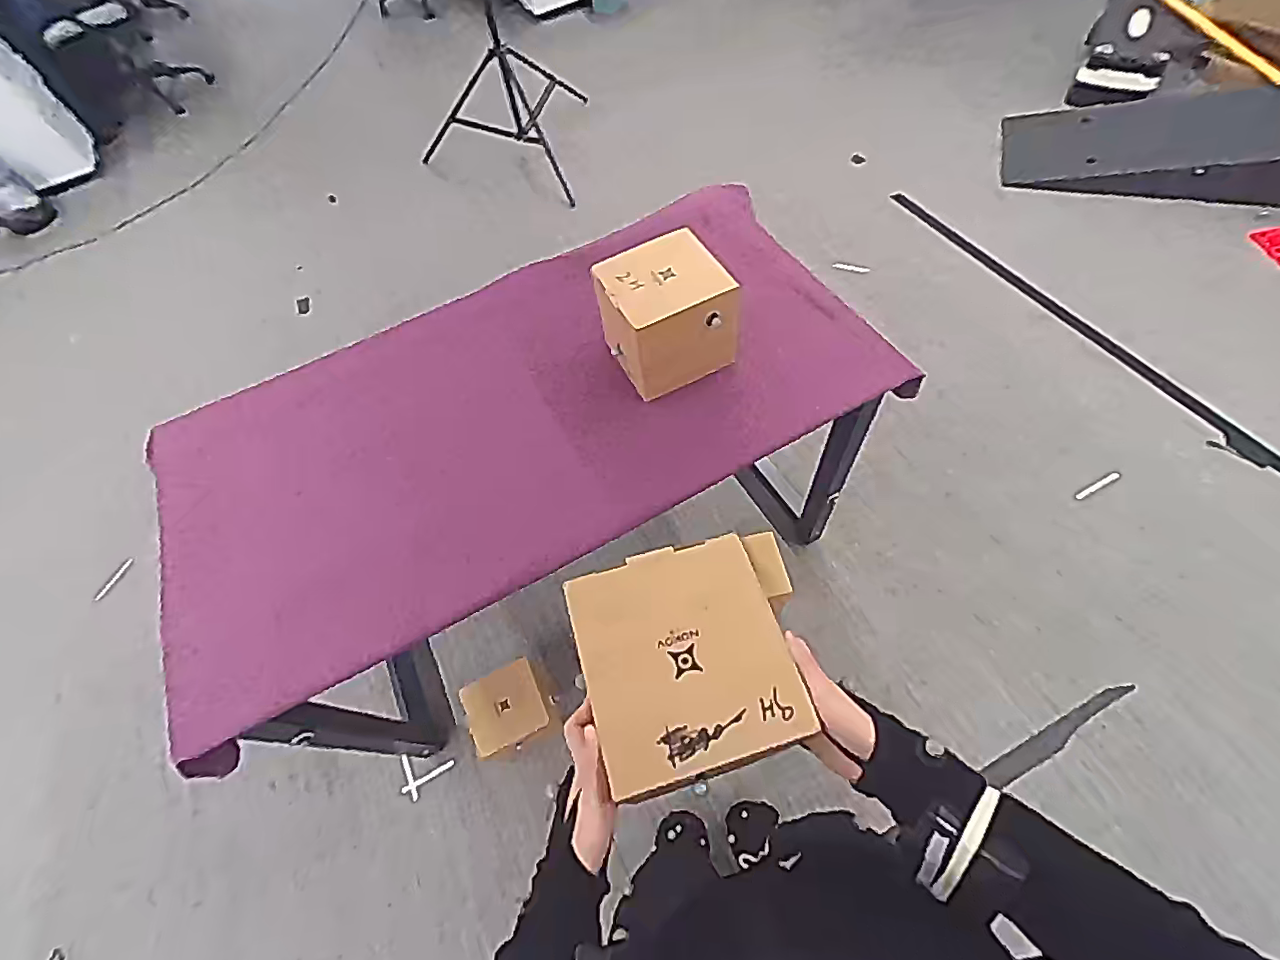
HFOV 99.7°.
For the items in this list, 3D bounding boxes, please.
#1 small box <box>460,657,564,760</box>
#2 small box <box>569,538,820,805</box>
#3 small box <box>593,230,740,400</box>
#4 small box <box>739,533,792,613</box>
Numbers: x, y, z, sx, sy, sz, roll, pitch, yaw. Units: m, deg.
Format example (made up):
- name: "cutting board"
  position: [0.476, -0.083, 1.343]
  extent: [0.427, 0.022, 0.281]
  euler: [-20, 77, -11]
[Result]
- name: "small box"
  position: [-0.305, 0.559, 1.309]
  extent: [0.179, 0.176, 0.168]
  euler: [-25, 62, -8]
- name: "small box"
  position: [0.037, 0.183, 0.505]
  extent: [0.168, 0.176, 0.179]
  euler: [-14, 59, -6]
- name: "small box"
  position: [0.044, -0.265, 0.887]
  extent: [0.179, 0.176, 0.168]
  euler: [-26, 60, -7]
- name: "small box"
  position: [0.276, 0.259, 1.408]
  extent: [0.179, 0.176, 0.168]
  euler: [-13, 60, 0]
